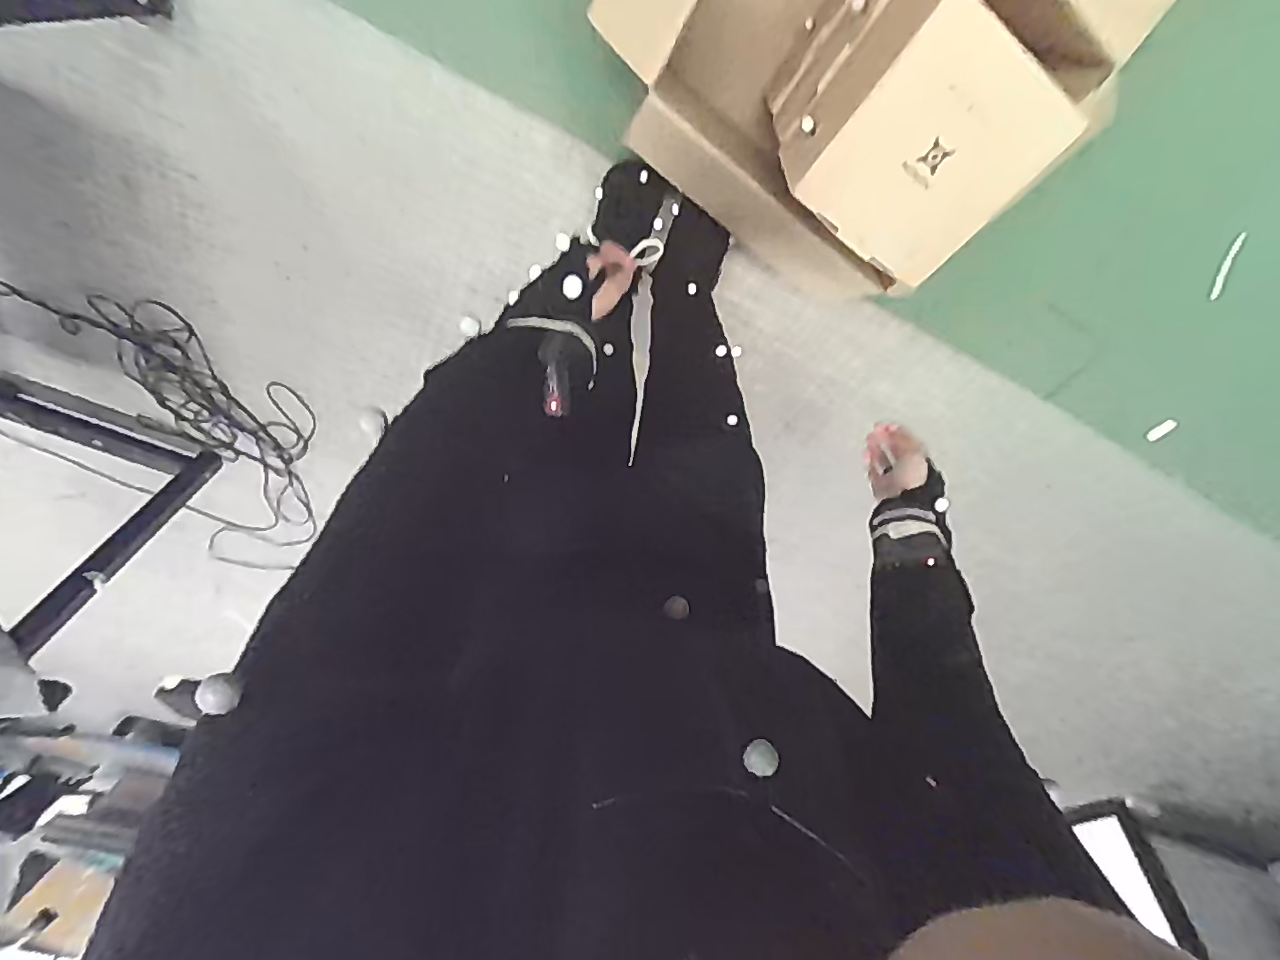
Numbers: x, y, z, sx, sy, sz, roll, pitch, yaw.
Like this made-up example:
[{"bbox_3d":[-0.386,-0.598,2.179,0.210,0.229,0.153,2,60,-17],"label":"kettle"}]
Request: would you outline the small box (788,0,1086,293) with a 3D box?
[{"bbox_3d":[0.263,-0.327,0.529,0.168,0.176,0.179,28,129,-17],"label":"small box"}]
